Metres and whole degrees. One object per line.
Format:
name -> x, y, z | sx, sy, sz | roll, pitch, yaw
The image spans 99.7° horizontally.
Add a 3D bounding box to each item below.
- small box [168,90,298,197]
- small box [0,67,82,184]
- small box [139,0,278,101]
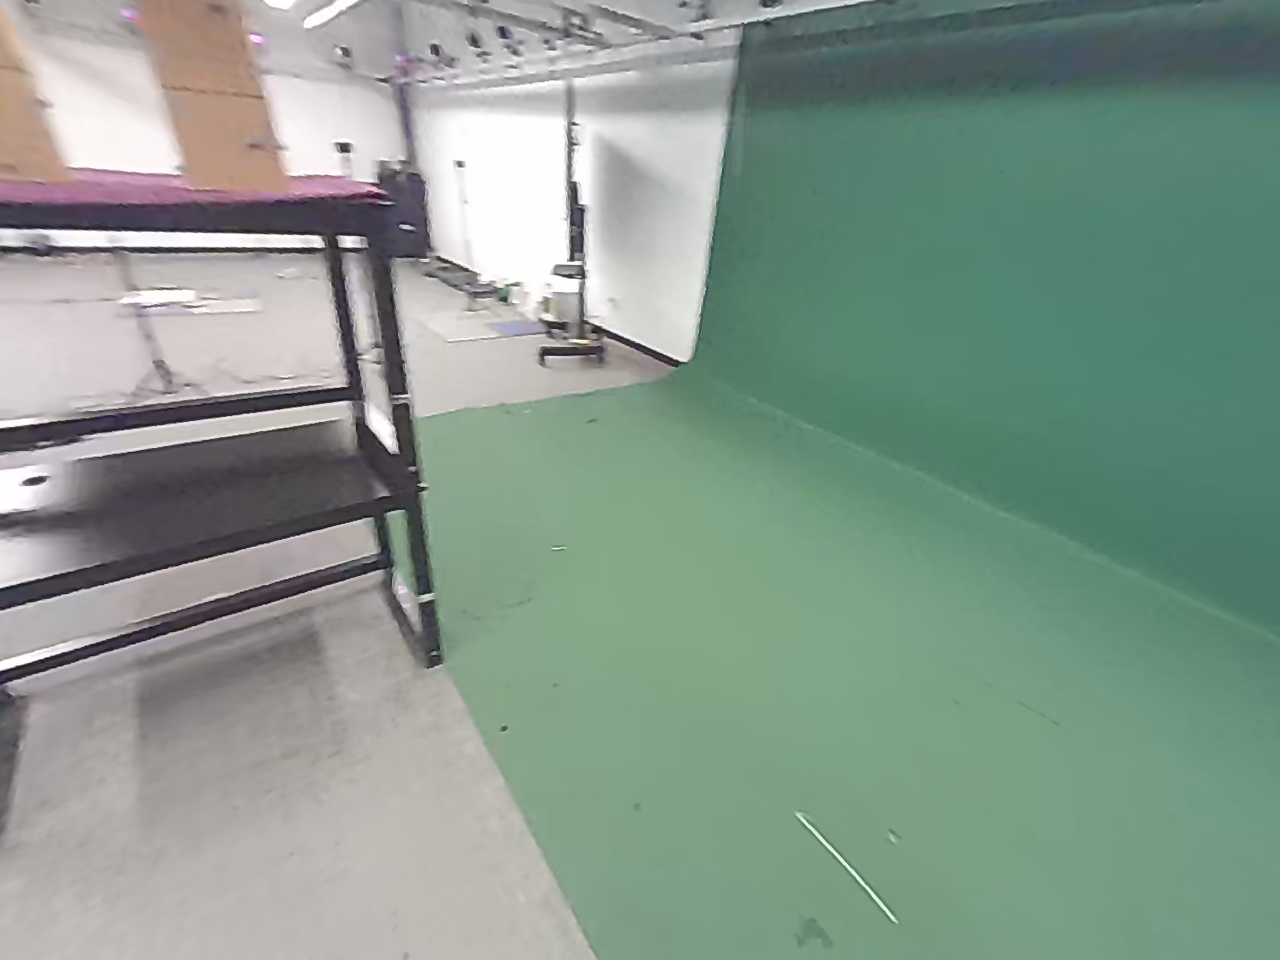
small box -> -0.820, -0.681, 1.109 | 0.179, 0.176, 0.168 | -15, 32, -29
small box -> -1.122, -0.618, 0.942 | 0.168, 0.176, 0.179 | -15, 34, -34
small box -> -0.818, -0.827, 1.037 | 0.179, 0.176, 0.168 | -12, 31, -27
